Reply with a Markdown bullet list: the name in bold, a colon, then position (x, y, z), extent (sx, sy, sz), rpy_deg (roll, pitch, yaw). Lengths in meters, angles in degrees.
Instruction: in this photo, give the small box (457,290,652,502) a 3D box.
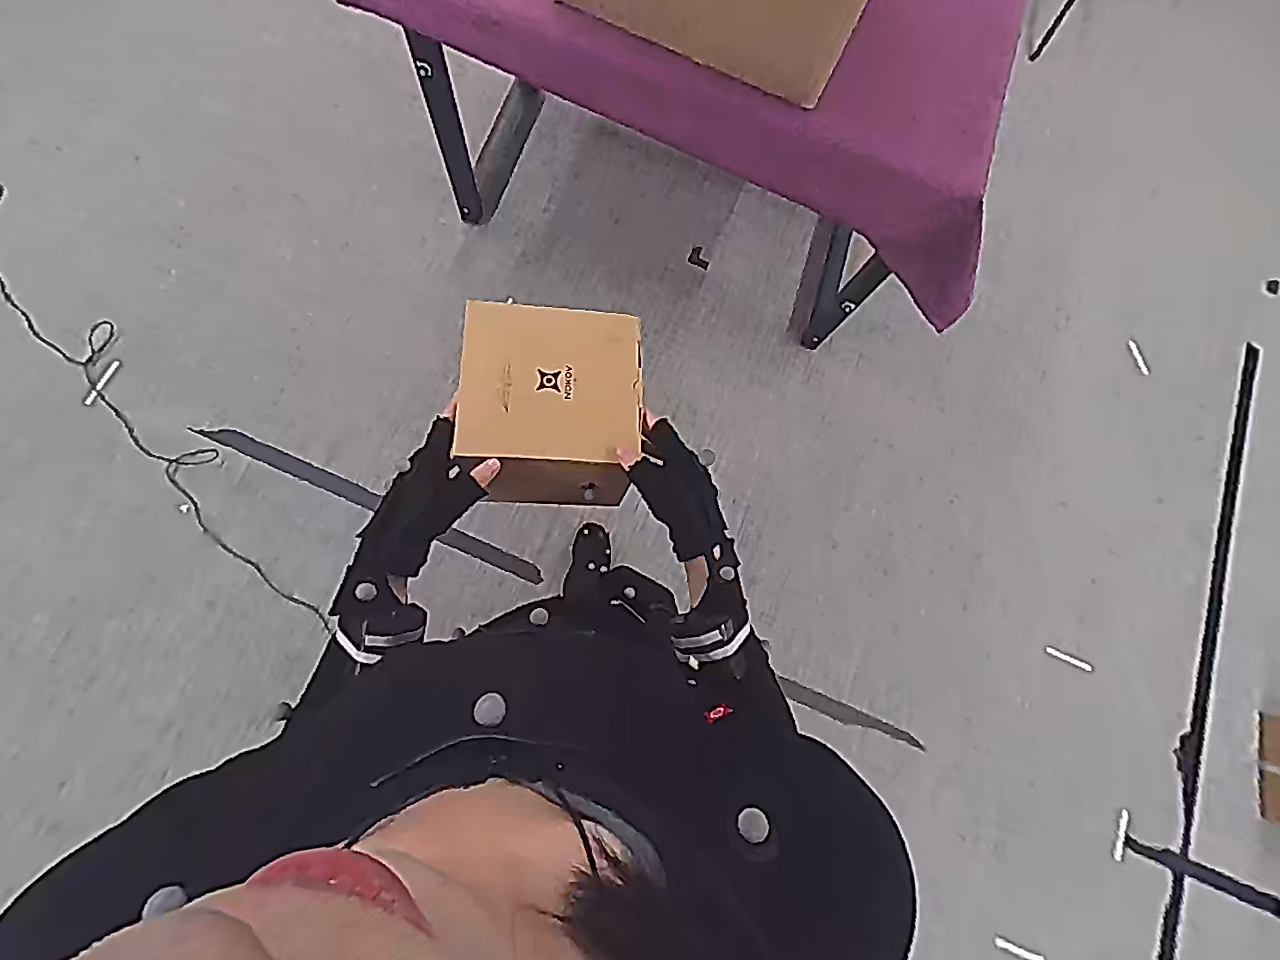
- **small box**: position (-0.089, -0.077, 0.584), extent (0.179, 0.176, 0.168), rpy_deg (2, 71, -9)
